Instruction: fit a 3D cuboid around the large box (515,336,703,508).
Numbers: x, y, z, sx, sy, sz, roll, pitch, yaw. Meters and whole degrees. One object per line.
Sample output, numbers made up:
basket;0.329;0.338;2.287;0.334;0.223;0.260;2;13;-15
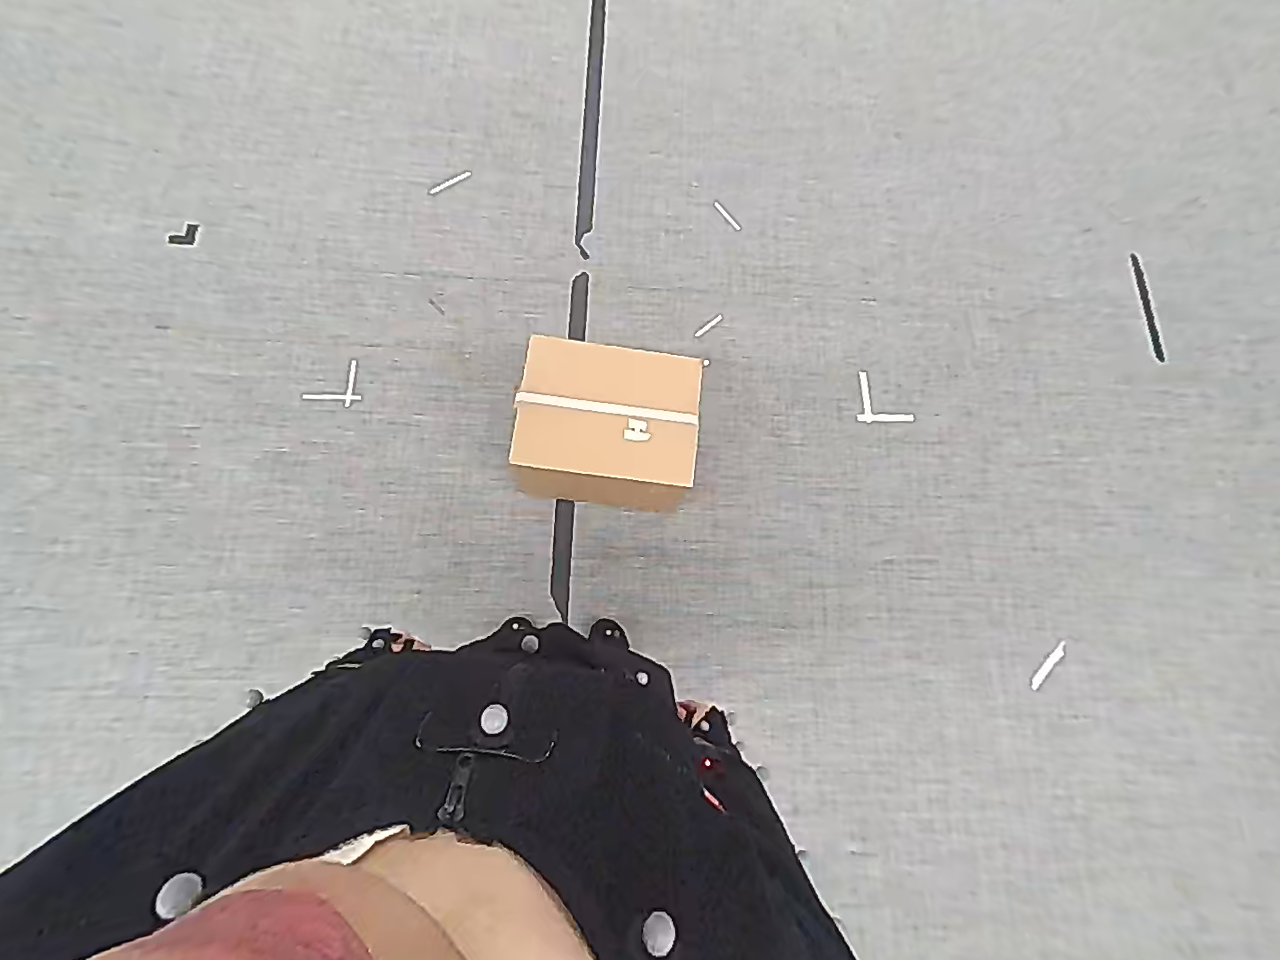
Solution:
large box;-0.078;-0.126;1.354;0.408;0.320;0.320;7;76;-4
